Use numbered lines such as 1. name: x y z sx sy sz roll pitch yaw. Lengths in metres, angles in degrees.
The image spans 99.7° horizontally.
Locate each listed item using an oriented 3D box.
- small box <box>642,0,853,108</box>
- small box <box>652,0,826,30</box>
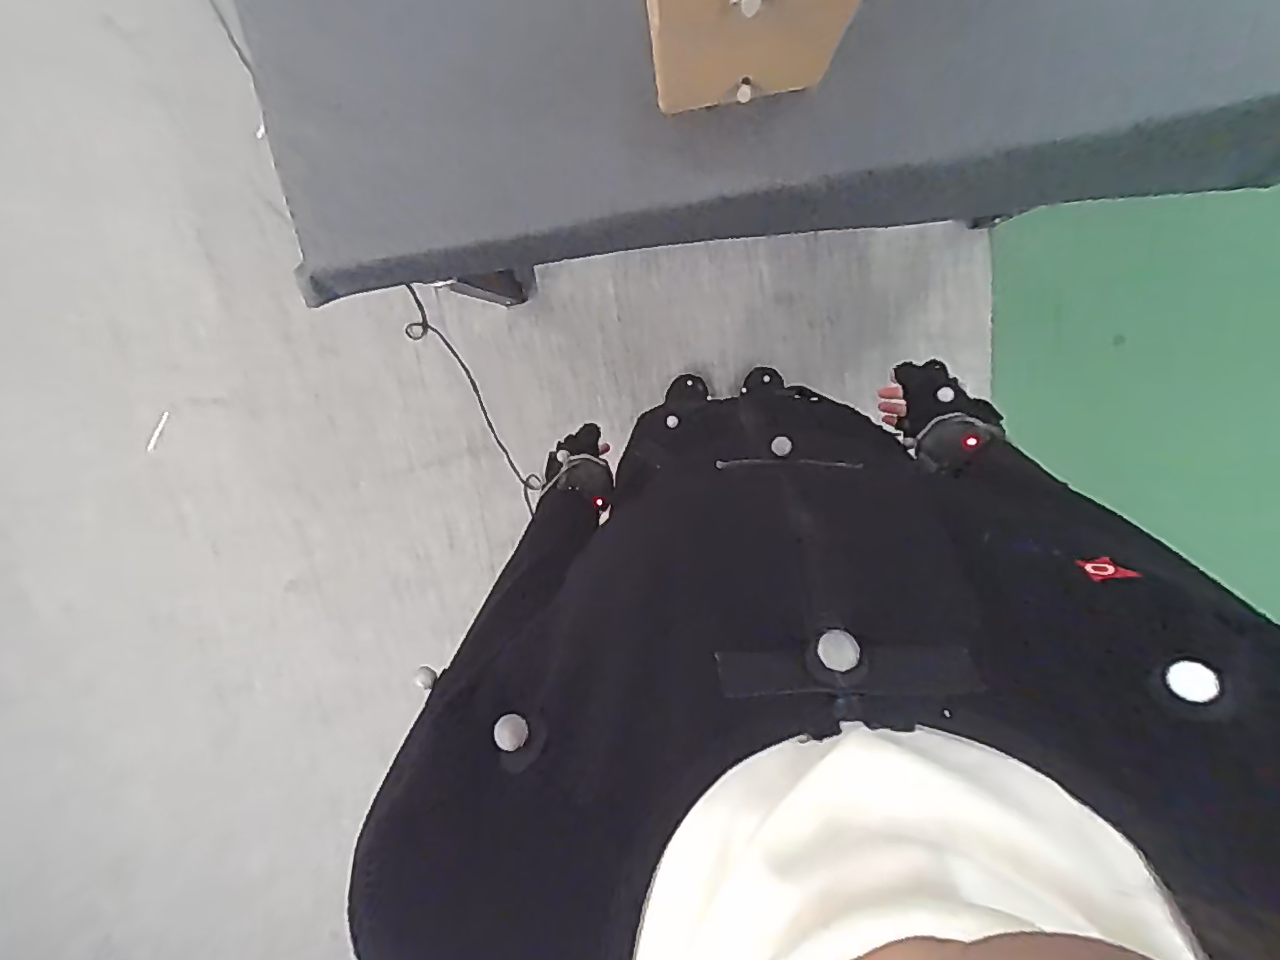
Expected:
1. small box: 0.087 -0.482 0.502 0.179 0.176 0.168 -6 102 6
2. small box: 0.072 -0.445 0.344 0.168 0.176 0.179 -6 103 8
